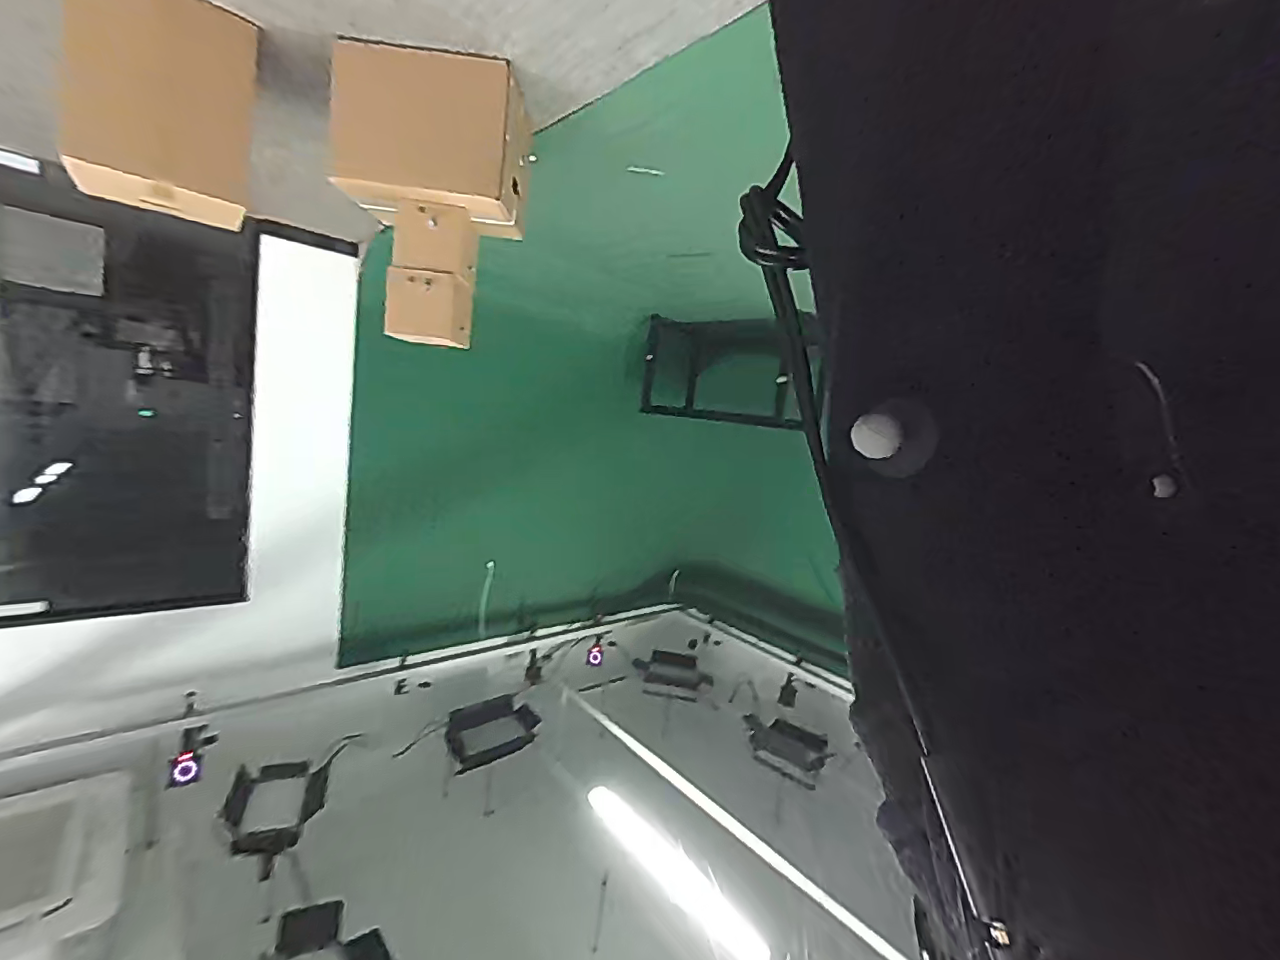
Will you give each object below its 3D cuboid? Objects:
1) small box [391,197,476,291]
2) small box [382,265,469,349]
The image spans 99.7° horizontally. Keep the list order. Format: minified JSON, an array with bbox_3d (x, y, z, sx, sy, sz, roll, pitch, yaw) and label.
[{"bbox_3d":[-0.535,-0.614,1.419,0.168,0.176,0.179,7,-175,-6],"label":"small box"},{"bbox_3d":[-0.560,-0.453,1.430,0.168,0.176,0.179,6,-174,-3],"label":"small box"}]
